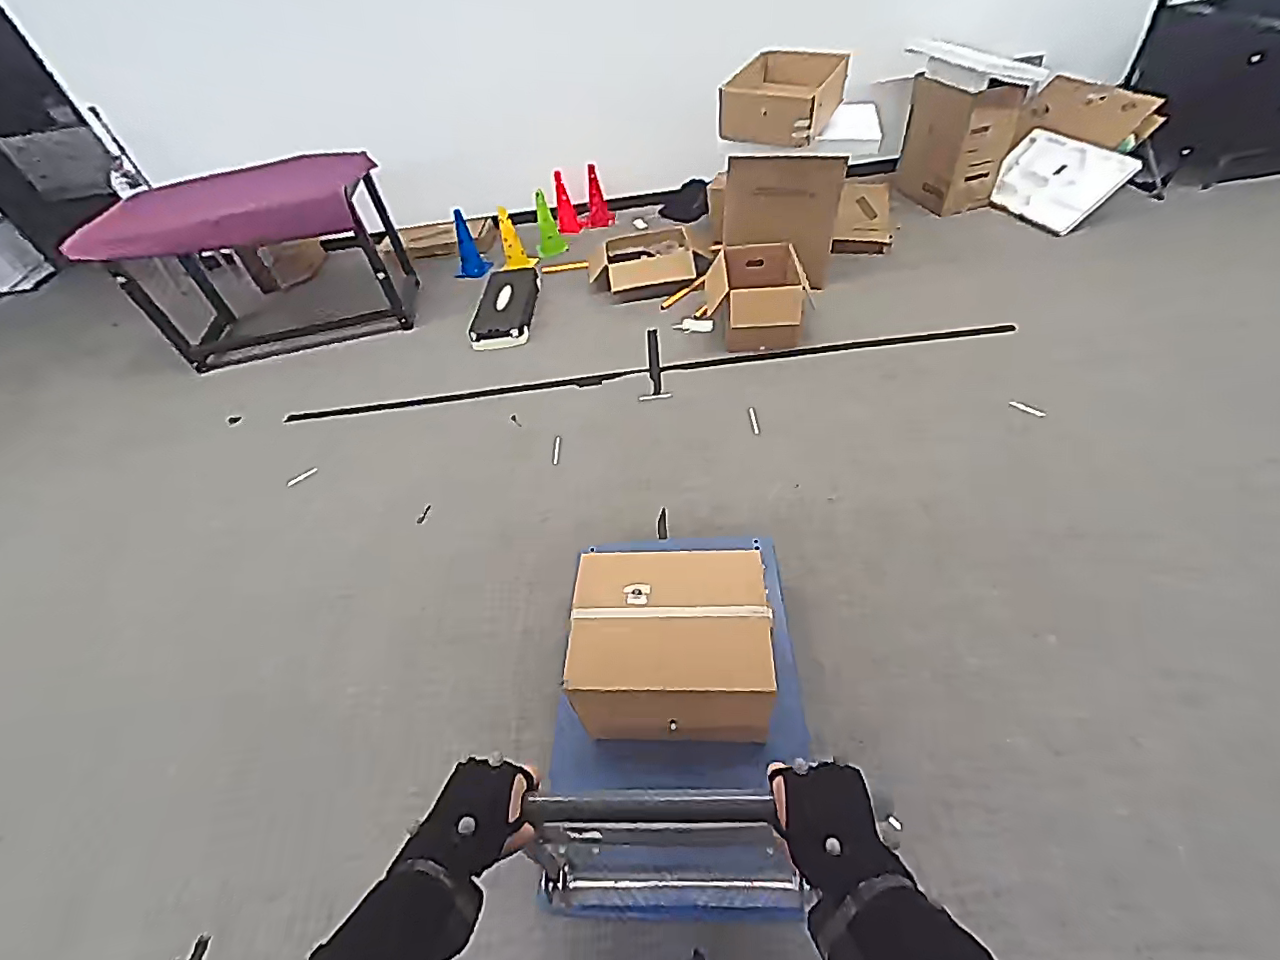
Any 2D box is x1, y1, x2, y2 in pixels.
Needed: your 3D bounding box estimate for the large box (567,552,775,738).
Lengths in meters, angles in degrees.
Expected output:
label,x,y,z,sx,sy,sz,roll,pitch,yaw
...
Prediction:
label,x,y,z,sx,sy,sz,roll,pitch,yaw
large box,0.079,0.384,1.234,0.408,0.320,0.320,-3,47,7
